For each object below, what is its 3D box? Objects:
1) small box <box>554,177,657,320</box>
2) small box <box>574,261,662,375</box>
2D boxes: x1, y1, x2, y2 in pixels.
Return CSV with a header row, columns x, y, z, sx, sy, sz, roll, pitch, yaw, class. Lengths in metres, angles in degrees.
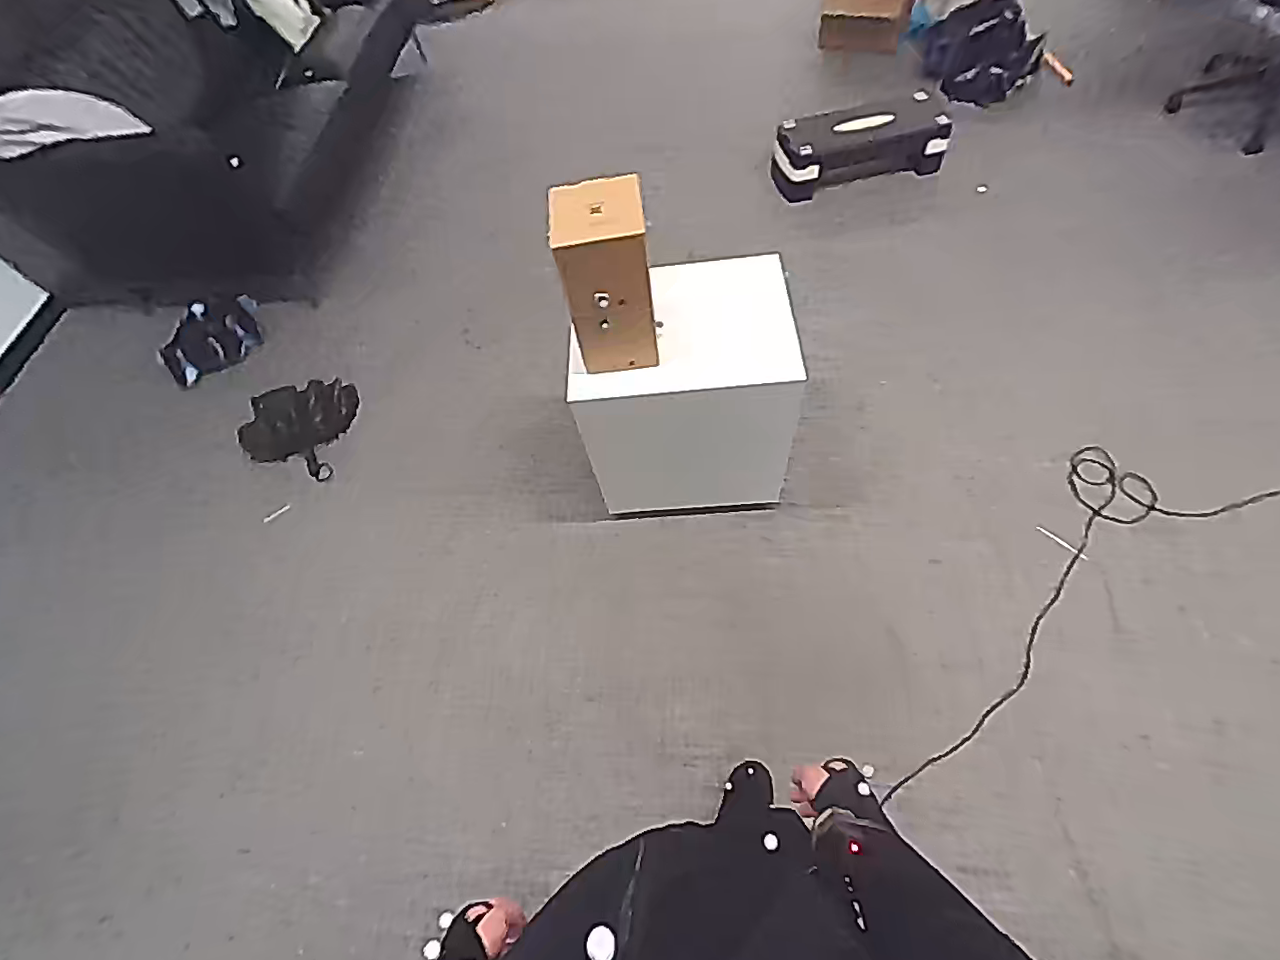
x,y,z,sx,sy,sz,roll,pitch,yaw,class
-0.062,-0.432,1.021,0.168,0.176,0.179,-8,60,4,small box
-0.043,-0.352,1.162,0.168,0.176,0.179,-6,59,4,small box
